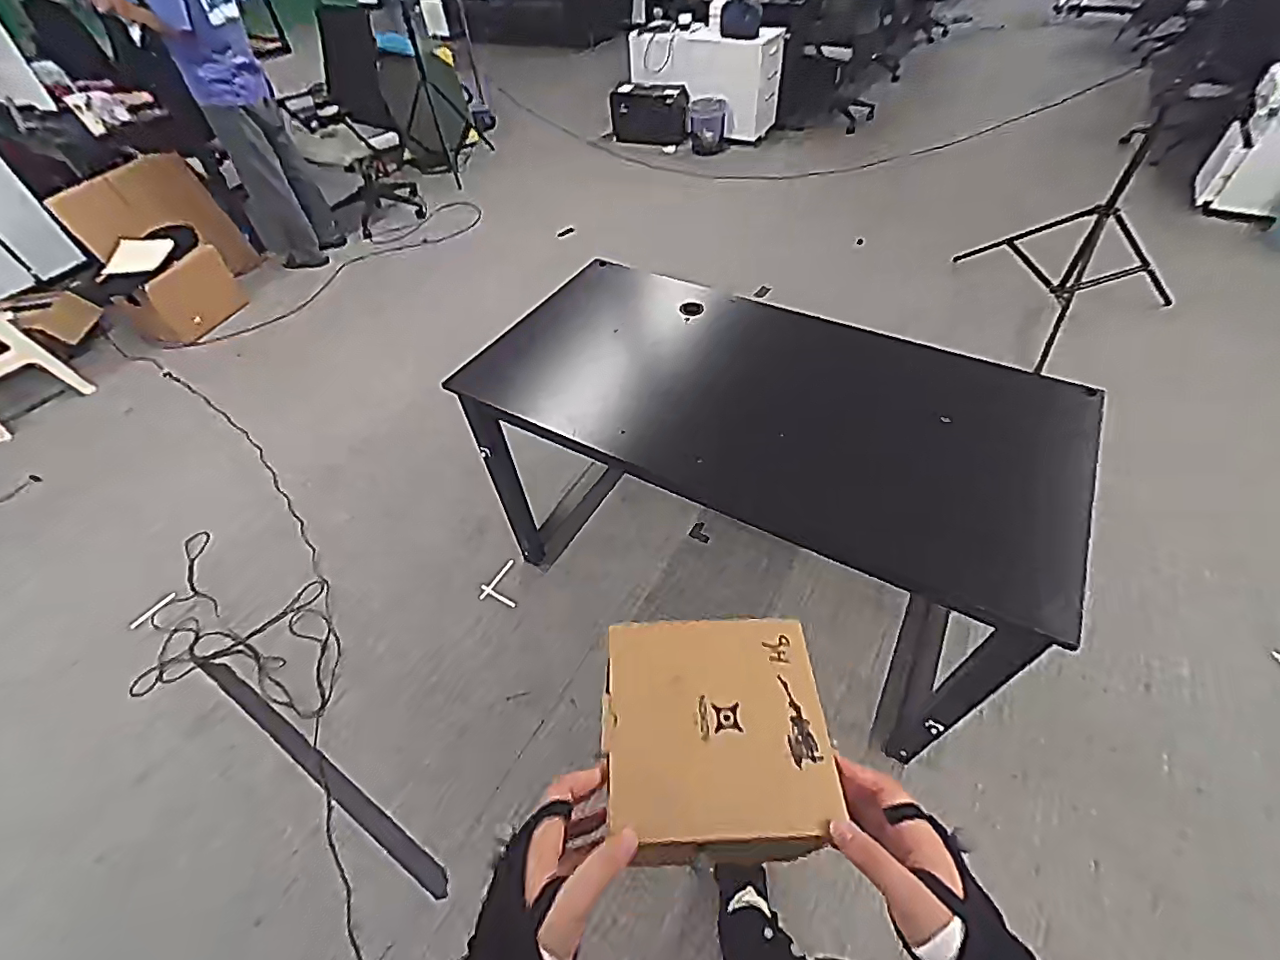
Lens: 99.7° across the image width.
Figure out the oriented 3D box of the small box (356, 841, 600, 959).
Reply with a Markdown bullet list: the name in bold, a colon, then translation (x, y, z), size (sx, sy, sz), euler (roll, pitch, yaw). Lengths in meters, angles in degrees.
- **small box**: translation (-0.123, 0.375, 0.331), size (0.179, 0.168, 0.176), euler (-4, 47, -50)
